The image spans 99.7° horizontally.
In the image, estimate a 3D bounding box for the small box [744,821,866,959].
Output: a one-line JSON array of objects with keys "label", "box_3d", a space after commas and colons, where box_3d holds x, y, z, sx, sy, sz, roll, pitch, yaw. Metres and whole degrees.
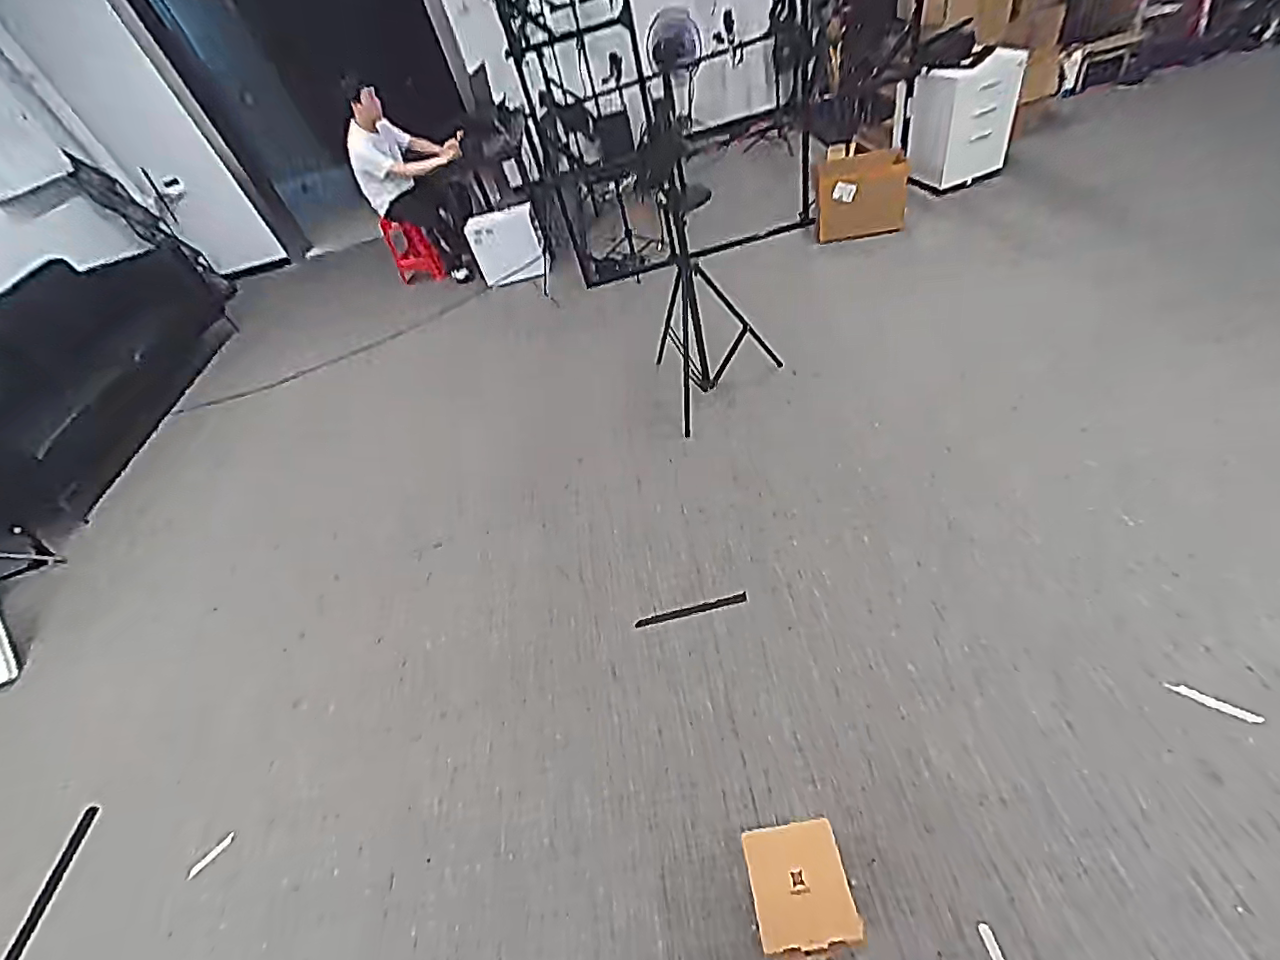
[{"label": "small box", "box_3d": [0.293, 0.754, 0.986, 0.168, 0.176, 0.179, -14, 44, 5]}]
